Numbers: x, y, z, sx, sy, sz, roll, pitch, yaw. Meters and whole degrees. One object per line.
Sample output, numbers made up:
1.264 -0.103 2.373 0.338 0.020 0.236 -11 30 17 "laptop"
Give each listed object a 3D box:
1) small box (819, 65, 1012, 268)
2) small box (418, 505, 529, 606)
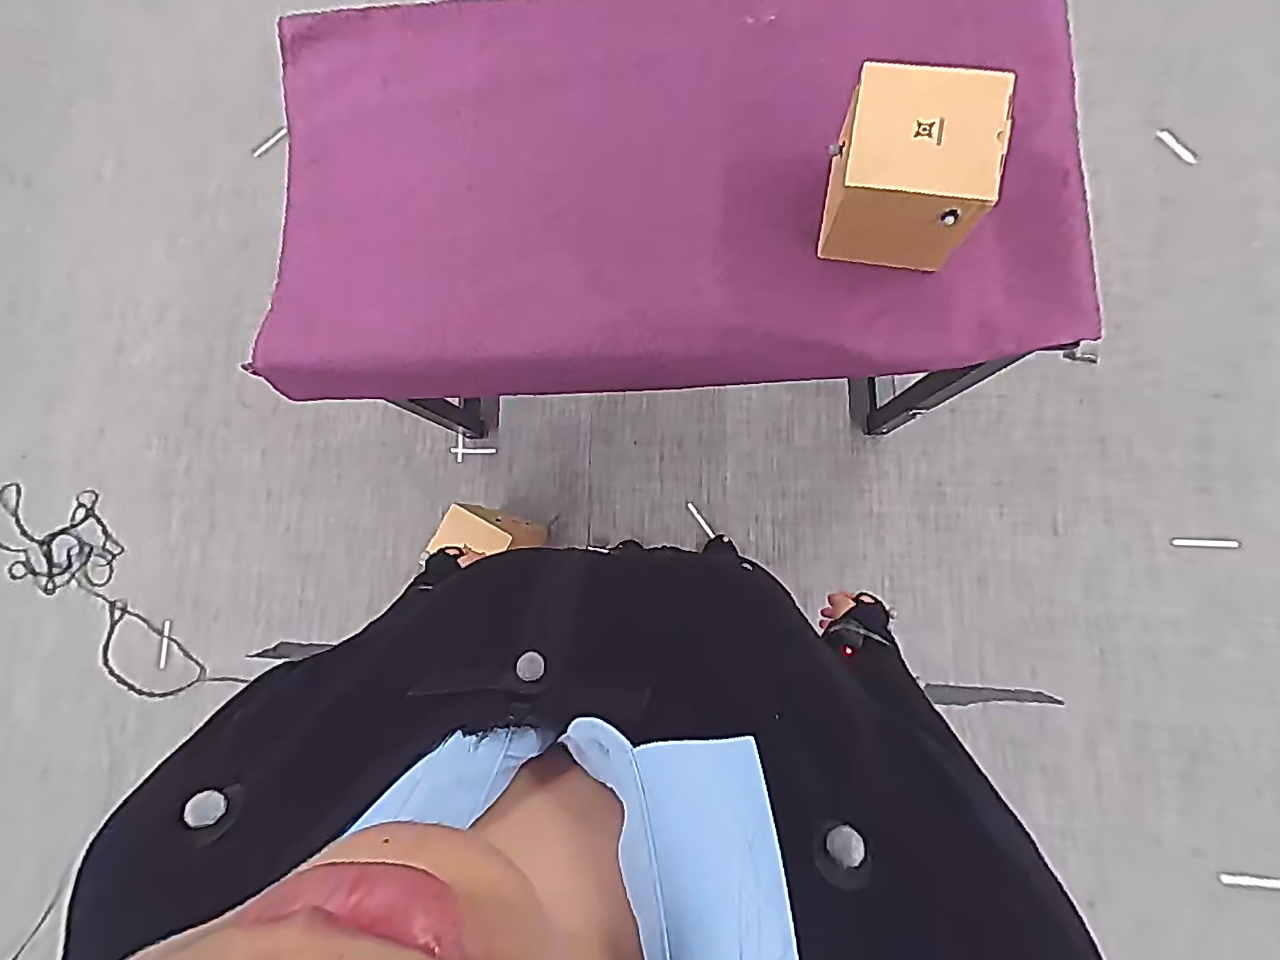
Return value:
0.351 -0.404 0.722 0.179 0.176 0.168 10 84 7 "small box"
-0.386 0.176 1.294 0.168 0.176 0.179 29 88 7 "small box"
